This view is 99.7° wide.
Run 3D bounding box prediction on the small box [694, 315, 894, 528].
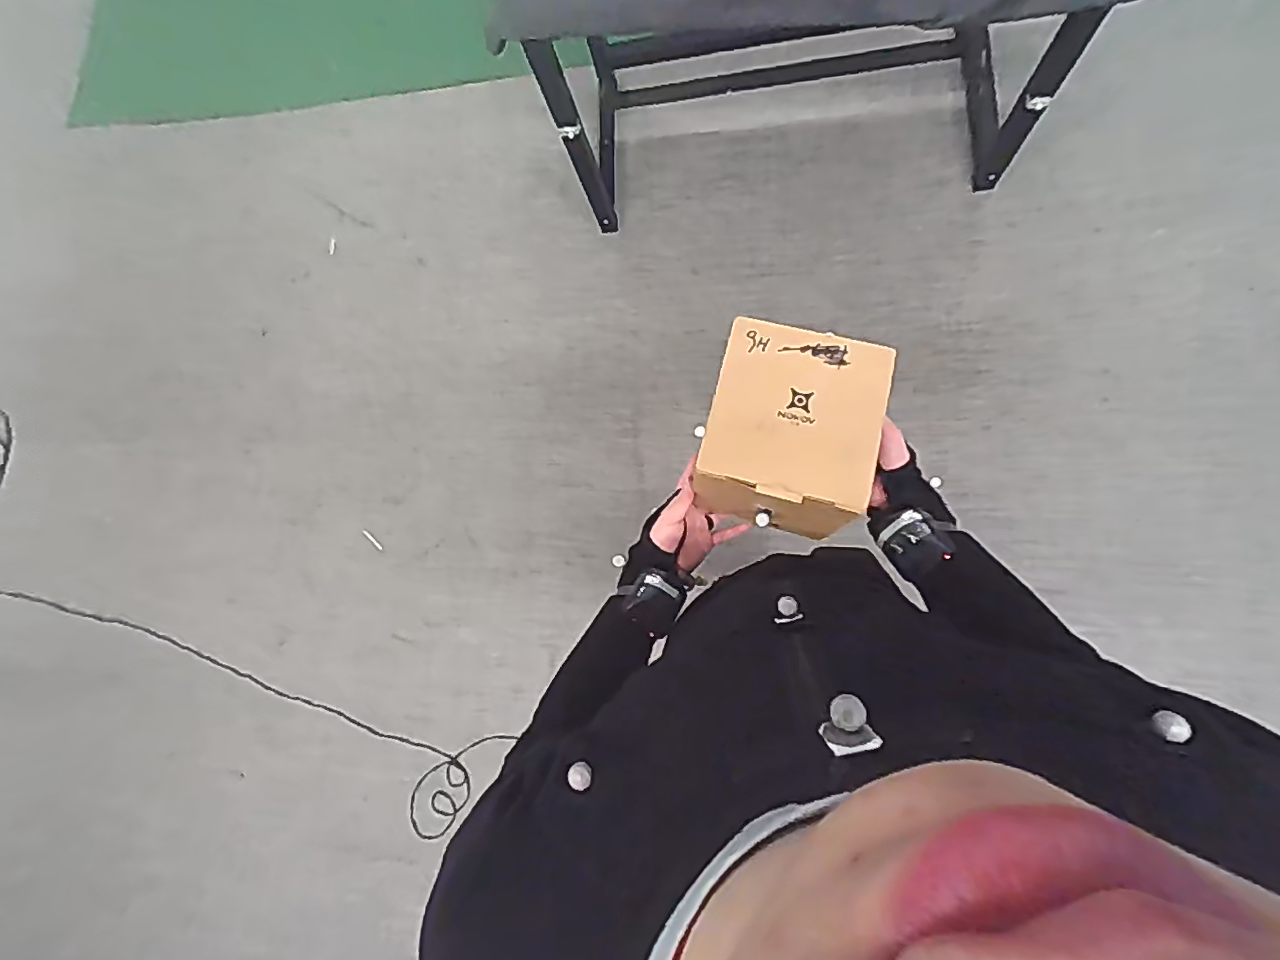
[{"bbox_3d":[0.161,-0.053,0.612,0.168,0.176,0.179,14,78,7],"label":"small box"}]
